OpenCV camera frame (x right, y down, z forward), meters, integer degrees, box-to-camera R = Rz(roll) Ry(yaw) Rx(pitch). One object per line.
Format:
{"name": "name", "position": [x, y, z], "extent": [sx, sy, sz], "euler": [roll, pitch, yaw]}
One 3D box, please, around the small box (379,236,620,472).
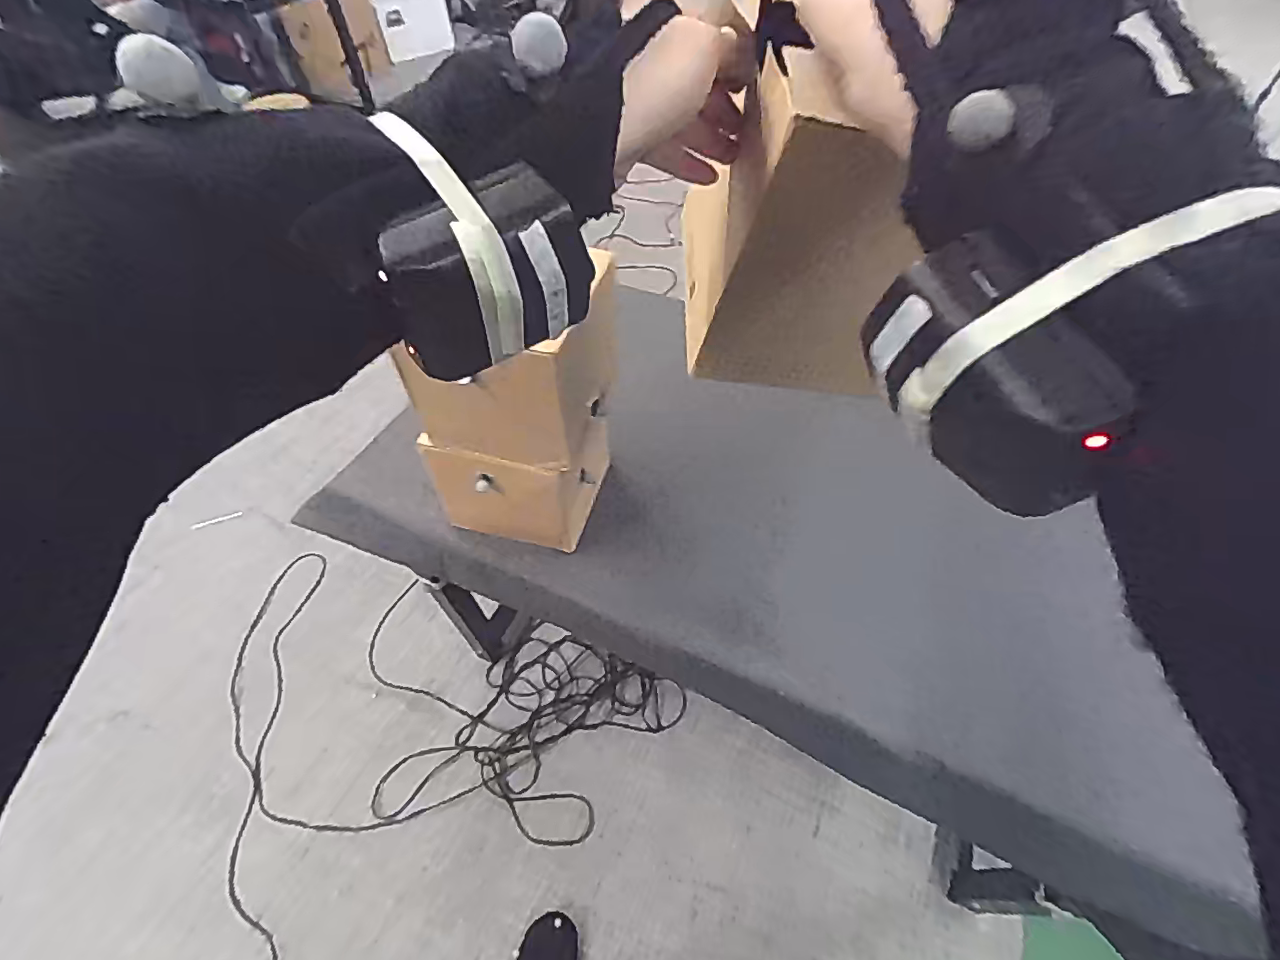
{"name": "small box", "position": [-0.128, -0.129, 0.573], "extent": [0.179, 0.176, 0.168], "euler": [13, 54, 9]}

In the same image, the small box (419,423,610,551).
{"name": "small box", "position": [-0.144, -0.028, 0.700], "extent": [0.179, 0.176, 0.168], "euler": [12, 52, 10]}
